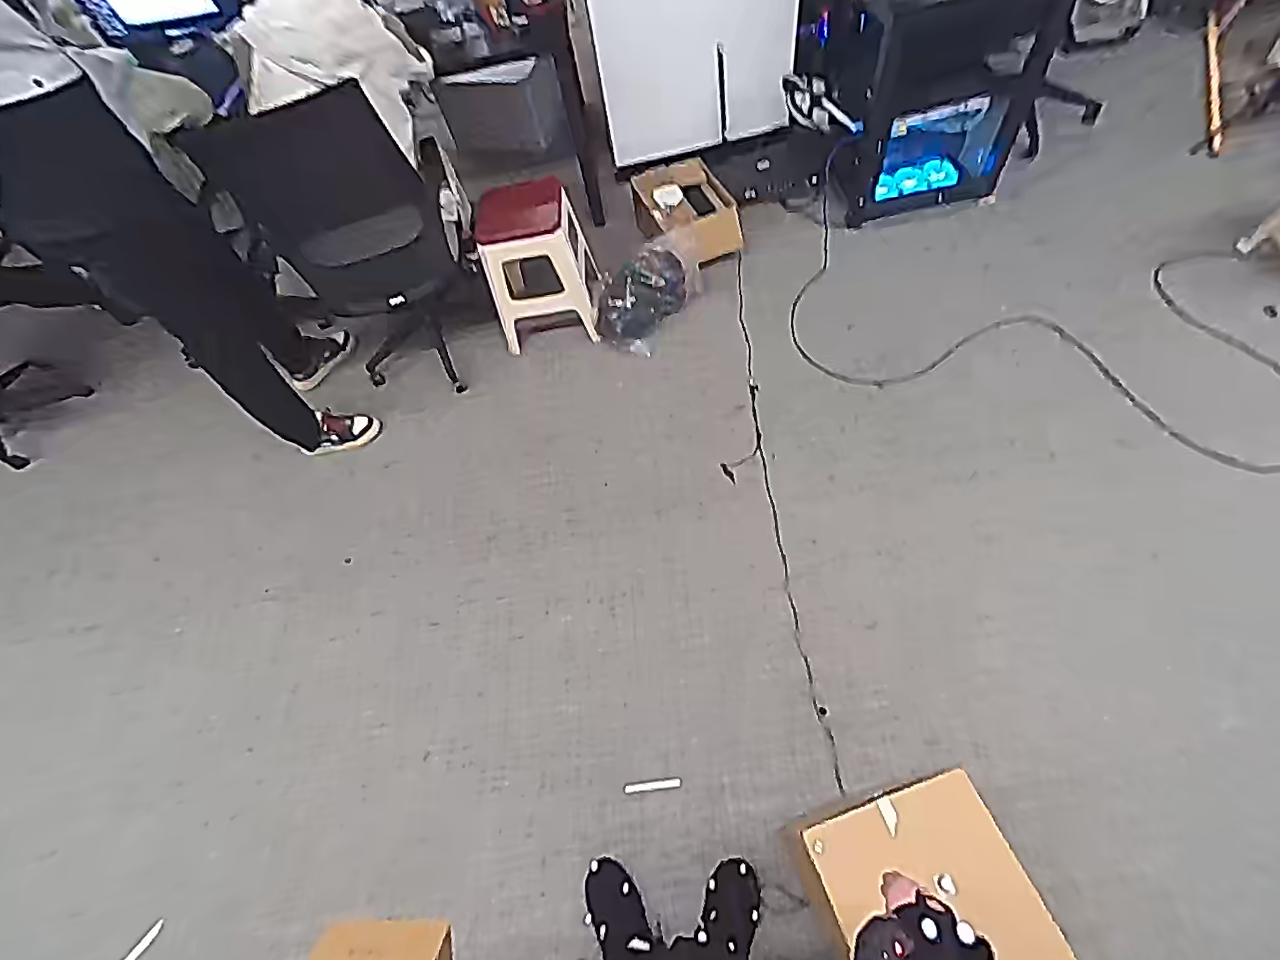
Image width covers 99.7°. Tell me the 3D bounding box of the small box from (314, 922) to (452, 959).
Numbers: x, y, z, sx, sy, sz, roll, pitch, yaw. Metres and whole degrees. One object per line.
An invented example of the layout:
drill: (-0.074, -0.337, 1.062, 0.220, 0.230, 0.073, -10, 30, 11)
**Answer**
small box: (-0.336, 0.696, 0.663, 0.168, 0.179, 0.176, 0, 95, 1)
